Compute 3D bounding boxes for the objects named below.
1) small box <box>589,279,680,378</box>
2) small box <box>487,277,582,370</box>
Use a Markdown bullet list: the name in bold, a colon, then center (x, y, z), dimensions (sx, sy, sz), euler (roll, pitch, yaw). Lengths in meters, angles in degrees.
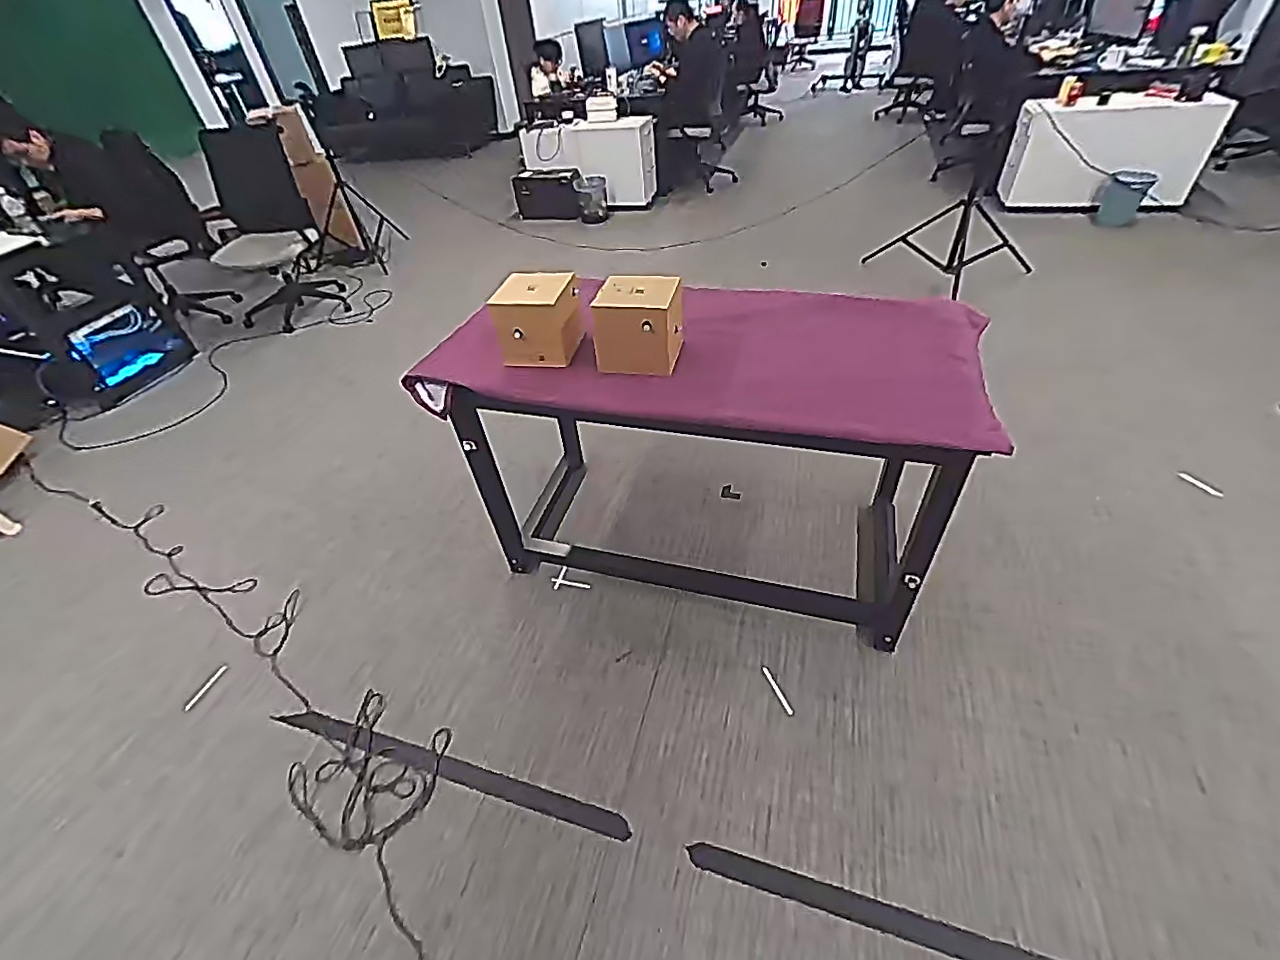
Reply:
- **small box**: center (-0.004, -0.353, 1.265), dimensions (0.179, 0.176, 0.168), euler (5, 42, 12)
- **small box**: center (-0.249, -0.383, 1.334), dimensions (0.168, 0.176, 0.179), euler (3, 42, 11)
